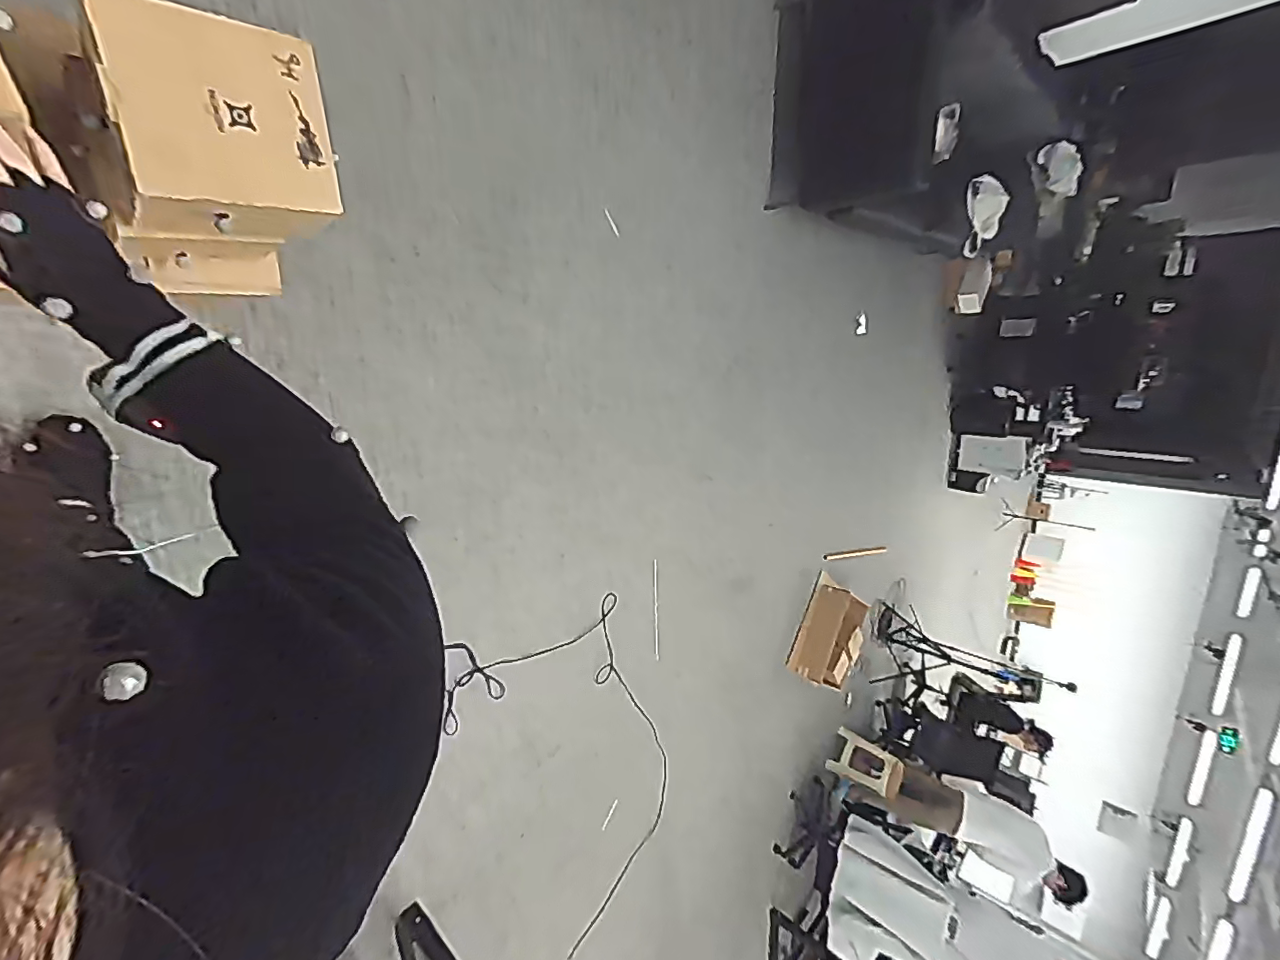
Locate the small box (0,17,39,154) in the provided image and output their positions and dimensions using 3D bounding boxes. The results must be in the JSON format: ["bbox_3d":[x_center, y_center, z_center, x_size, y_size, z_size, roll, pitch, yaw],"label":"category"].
[{"bbox_3d":[-0.612,-0.369,0.407,0.168,0.176,0.179,-27,119,-41],"label":"small box"}]
